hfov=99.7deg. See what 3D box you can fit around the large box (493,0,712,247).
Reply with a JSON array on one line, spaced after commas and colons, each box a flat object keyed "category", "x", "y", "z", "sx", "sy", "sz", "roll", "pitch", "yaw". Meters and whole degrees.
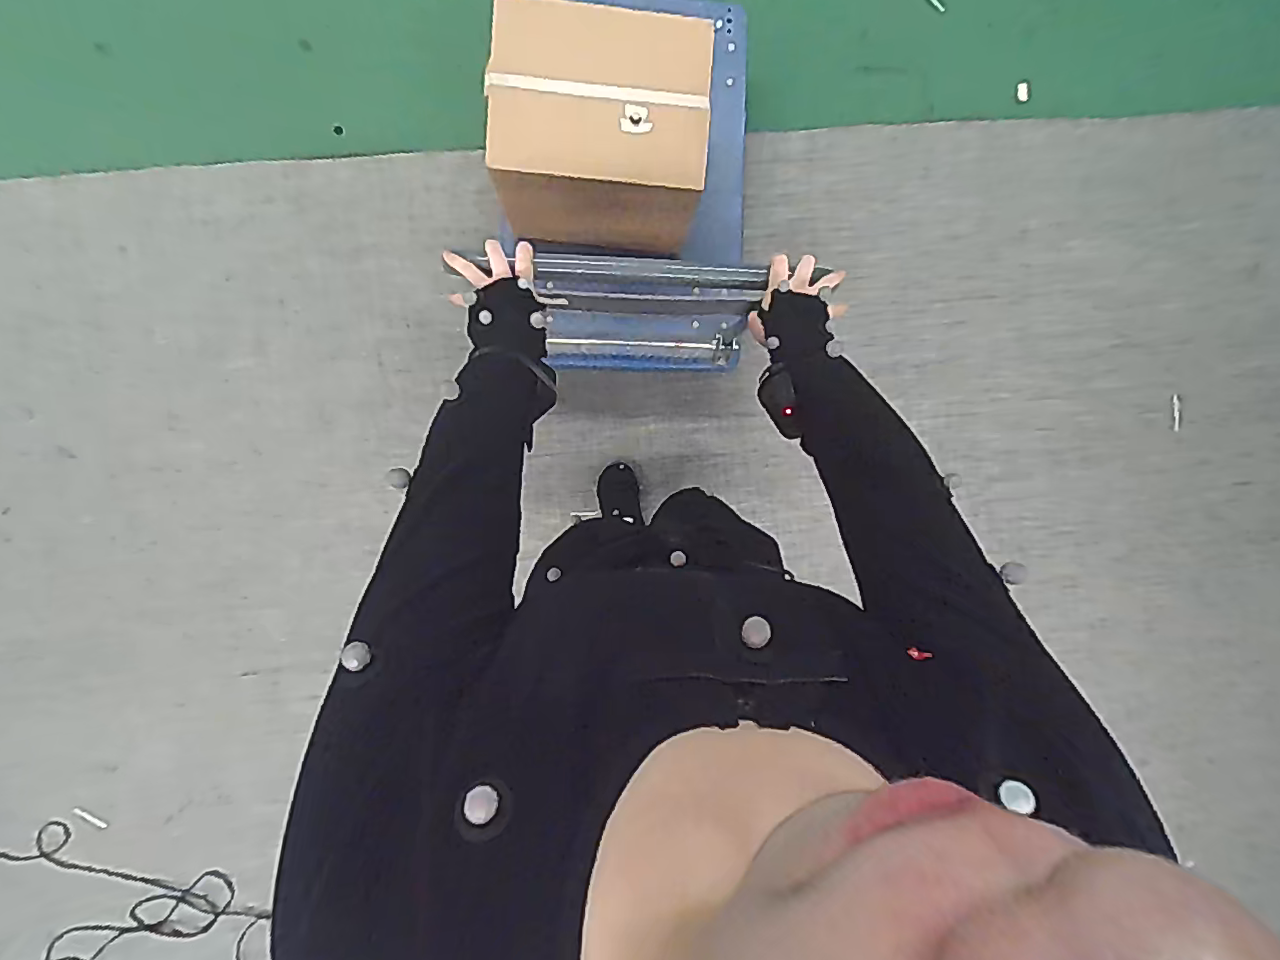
[{"category": "large box", "x": -0.083, "y": -0.723, "z": 1.154, "sx": 0.408, "sy": 0.320, "sz": 0.320, "roll": 3, "pitch": 92, "yaw": -5}]
